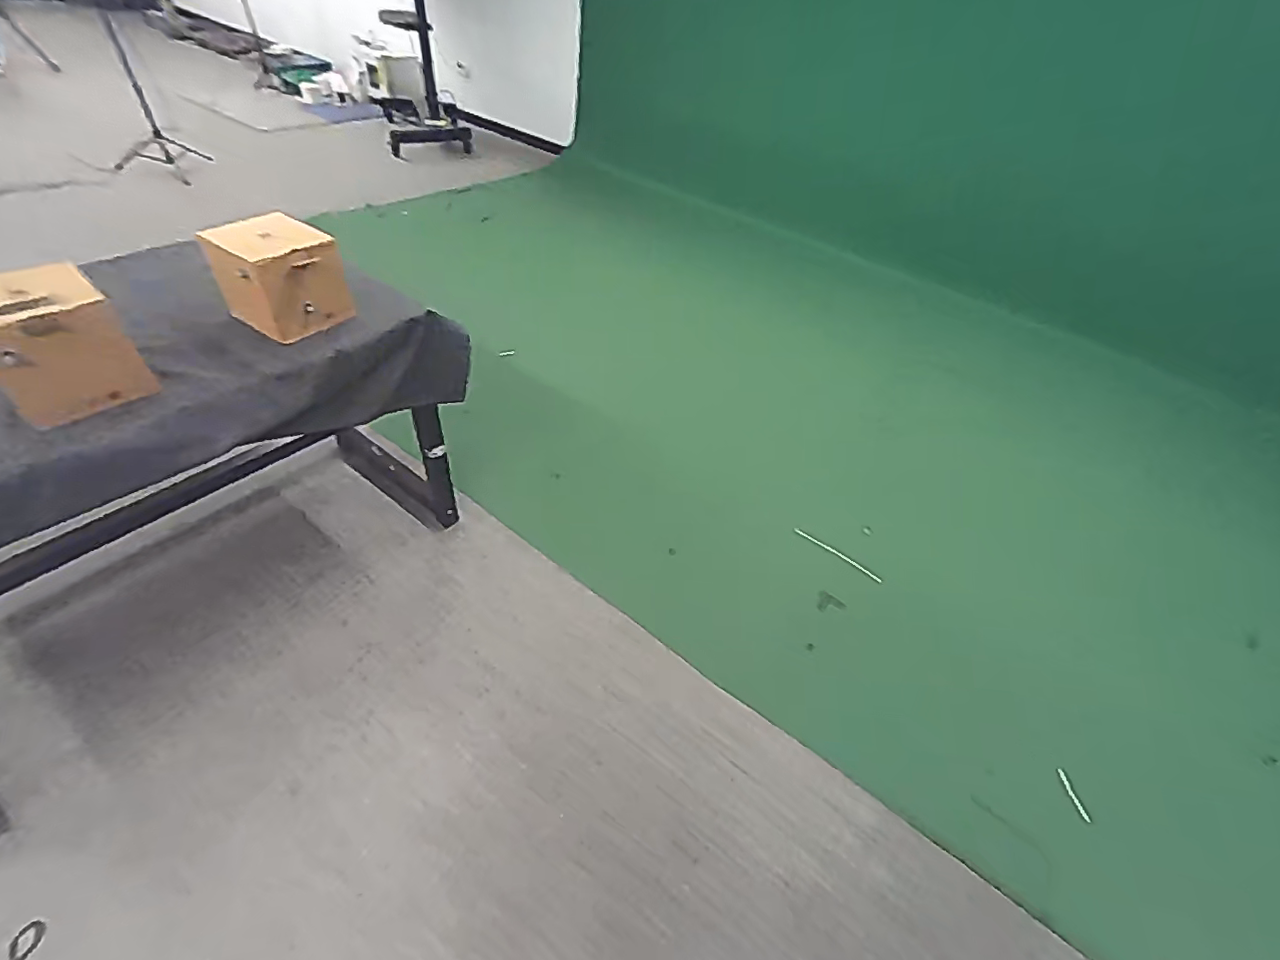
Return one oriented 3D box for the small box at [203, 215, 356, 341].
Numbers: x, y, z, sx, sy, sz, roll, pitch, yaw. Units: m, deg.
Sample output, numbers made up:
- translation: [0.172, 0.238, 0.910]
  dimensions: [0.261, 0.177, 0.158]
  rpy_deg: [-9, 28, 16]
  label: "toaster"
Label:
- translation: [-0.710, -0.404, 1.084]
  dimensions: [0.179, 0.176, 0.168]
  rpy_deg: [28, 48, 18]
  label: "small box"
